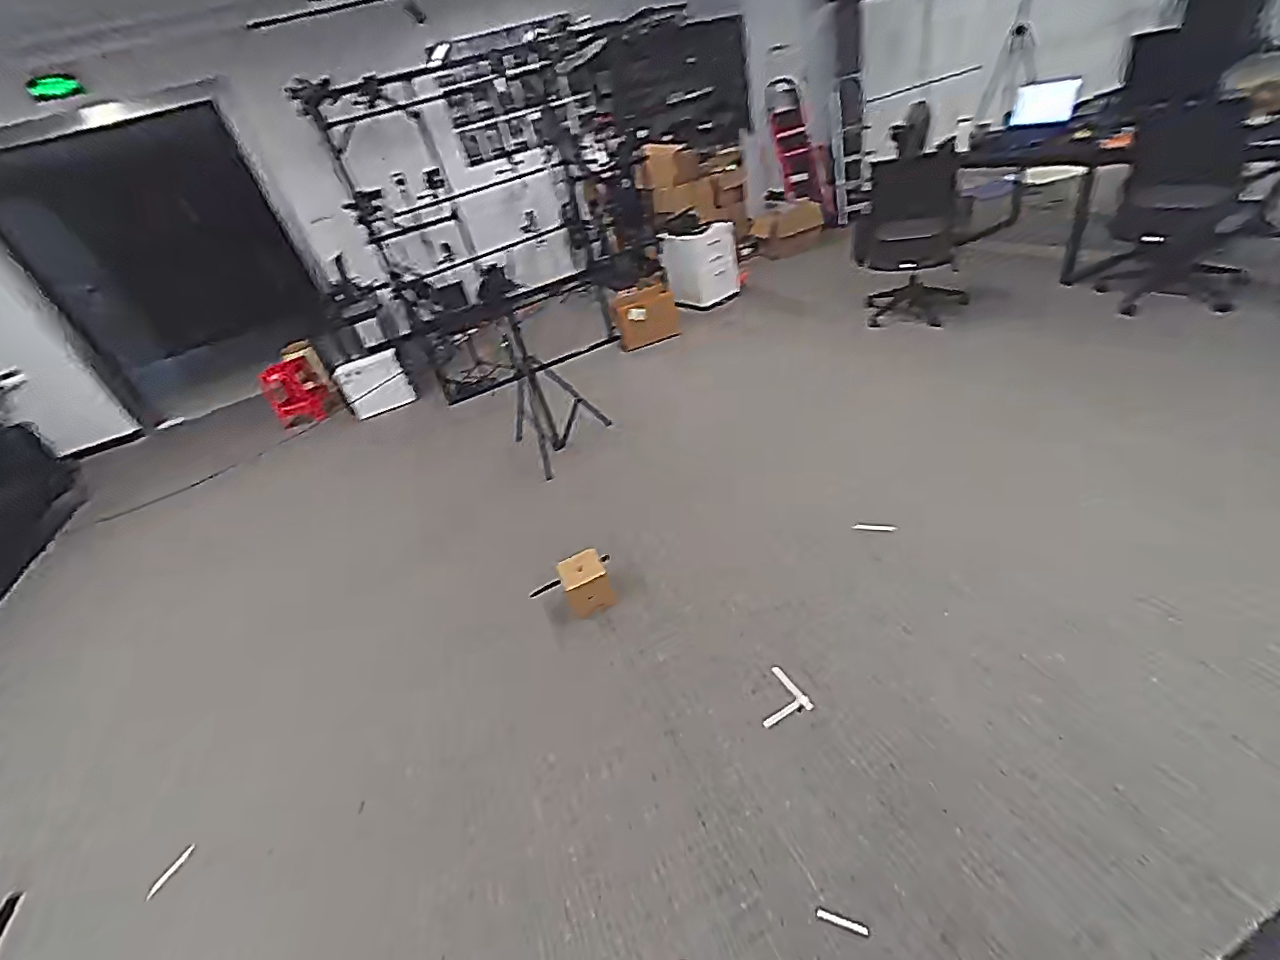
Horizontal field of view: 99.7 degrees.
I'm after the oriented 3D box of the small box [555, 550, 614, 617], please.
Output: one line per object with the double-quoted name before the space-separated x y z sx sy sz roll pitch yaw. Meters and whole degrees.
"small box" -0.218 0.414 2.135 0.168 0.176 0.179 -23 34 -11
